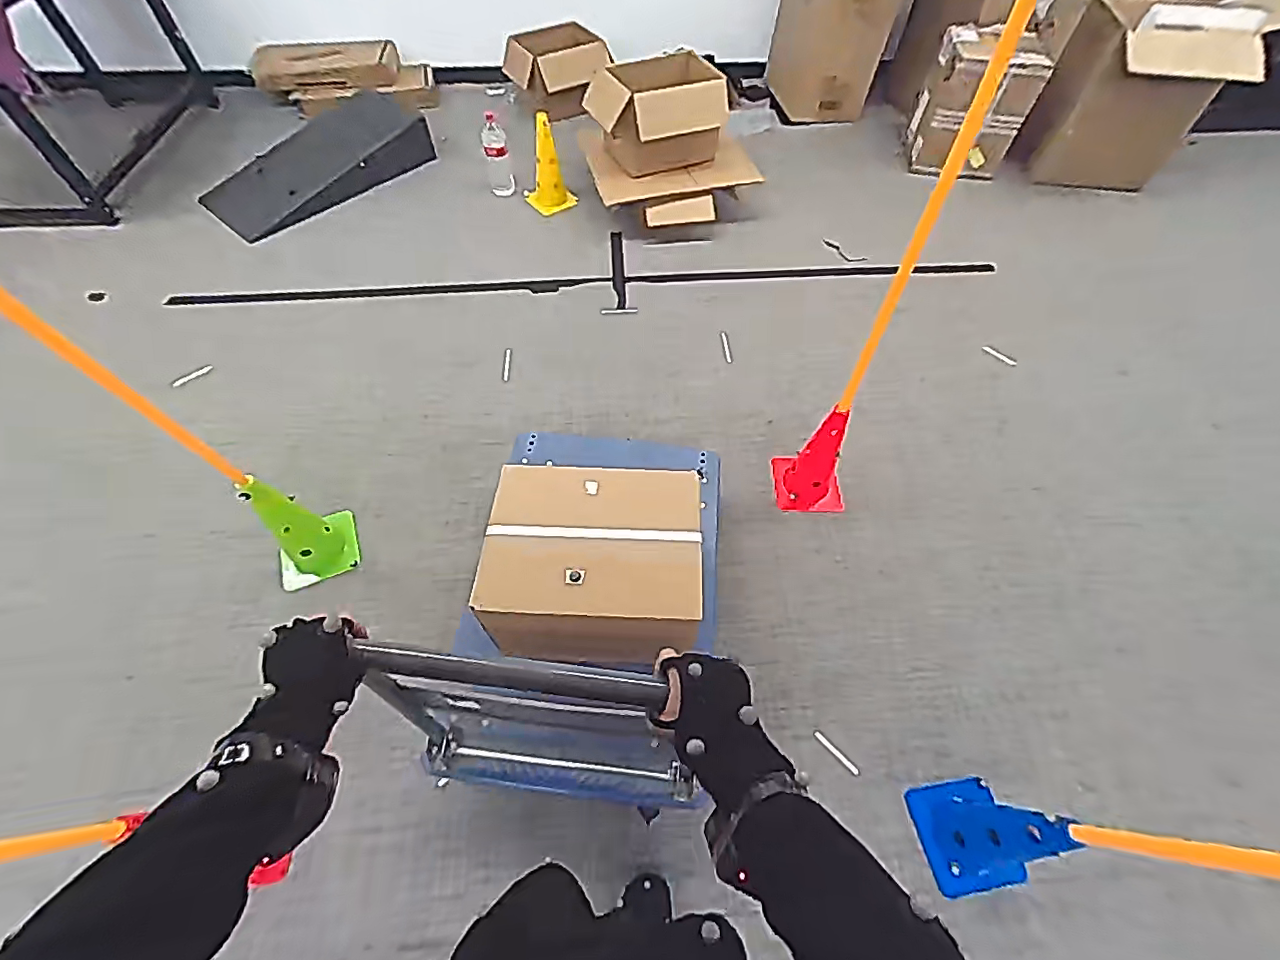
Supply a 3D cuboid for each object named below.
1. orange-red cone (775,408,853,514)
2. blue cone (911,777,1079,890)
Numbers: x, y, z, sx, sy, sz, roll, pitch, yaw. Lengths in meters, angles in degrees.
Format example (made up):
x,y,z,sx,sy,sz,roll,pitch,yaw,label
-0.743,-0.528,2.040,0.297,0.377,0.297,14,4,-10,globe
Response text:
x,y,z,sx,sy,sz,roll,pitch,yaw,label
0.523,-0.076,1.524,0.199,0.360,0.198,3,57,0,orange-red cone
0.714,0.676,1.046,0.193,0.380,0.192,-6,56,-5,blue cone
